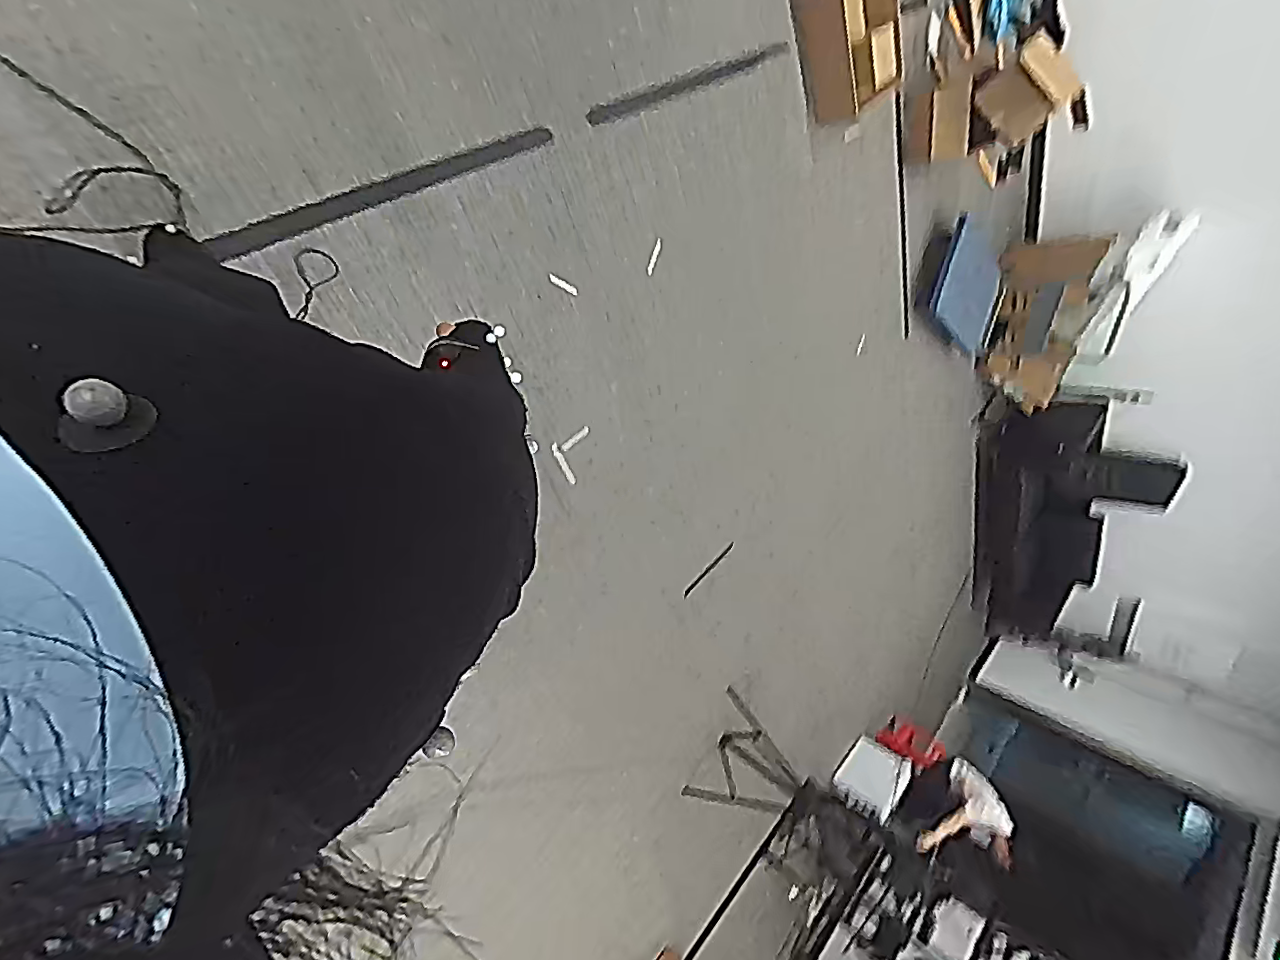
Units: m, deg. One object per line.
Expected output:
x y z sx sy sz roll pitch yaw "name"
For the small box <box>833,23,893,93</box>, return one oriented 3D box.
0.897 -1.699 2.185 0.179 0.176 0.168 -44 129 -25 "small box"
